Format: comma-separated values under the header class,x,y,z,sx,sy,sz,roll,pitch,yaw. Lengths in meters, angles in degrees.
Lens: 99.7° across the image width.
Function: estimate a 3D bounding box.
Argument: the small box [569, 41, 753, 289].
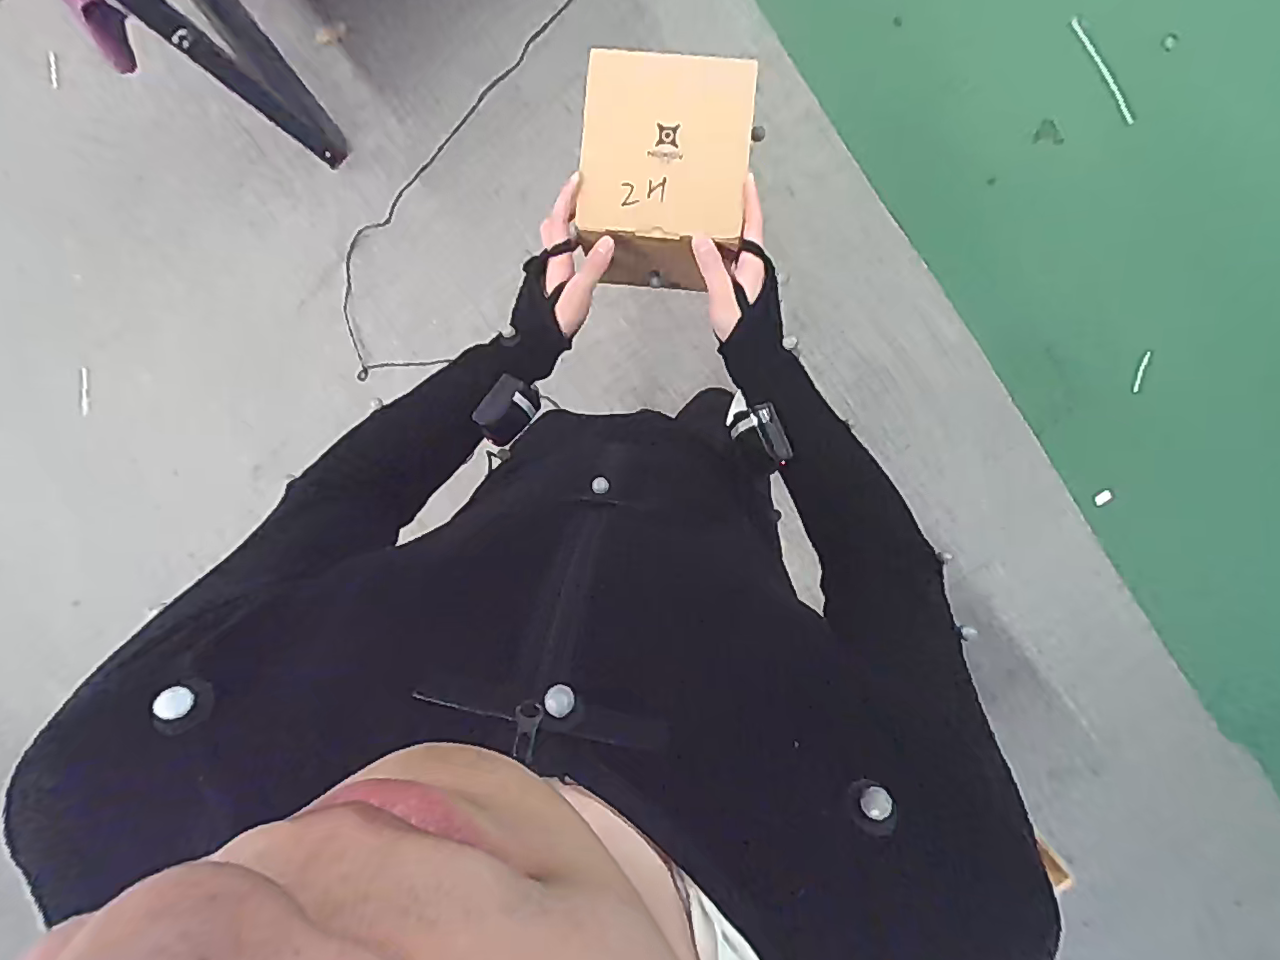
class,x,y,z,sx,sy,sz,roll,pitch,yaw
small box,0.022,-0.332,0.600,0.168,0.176,0.179,5,93,2
